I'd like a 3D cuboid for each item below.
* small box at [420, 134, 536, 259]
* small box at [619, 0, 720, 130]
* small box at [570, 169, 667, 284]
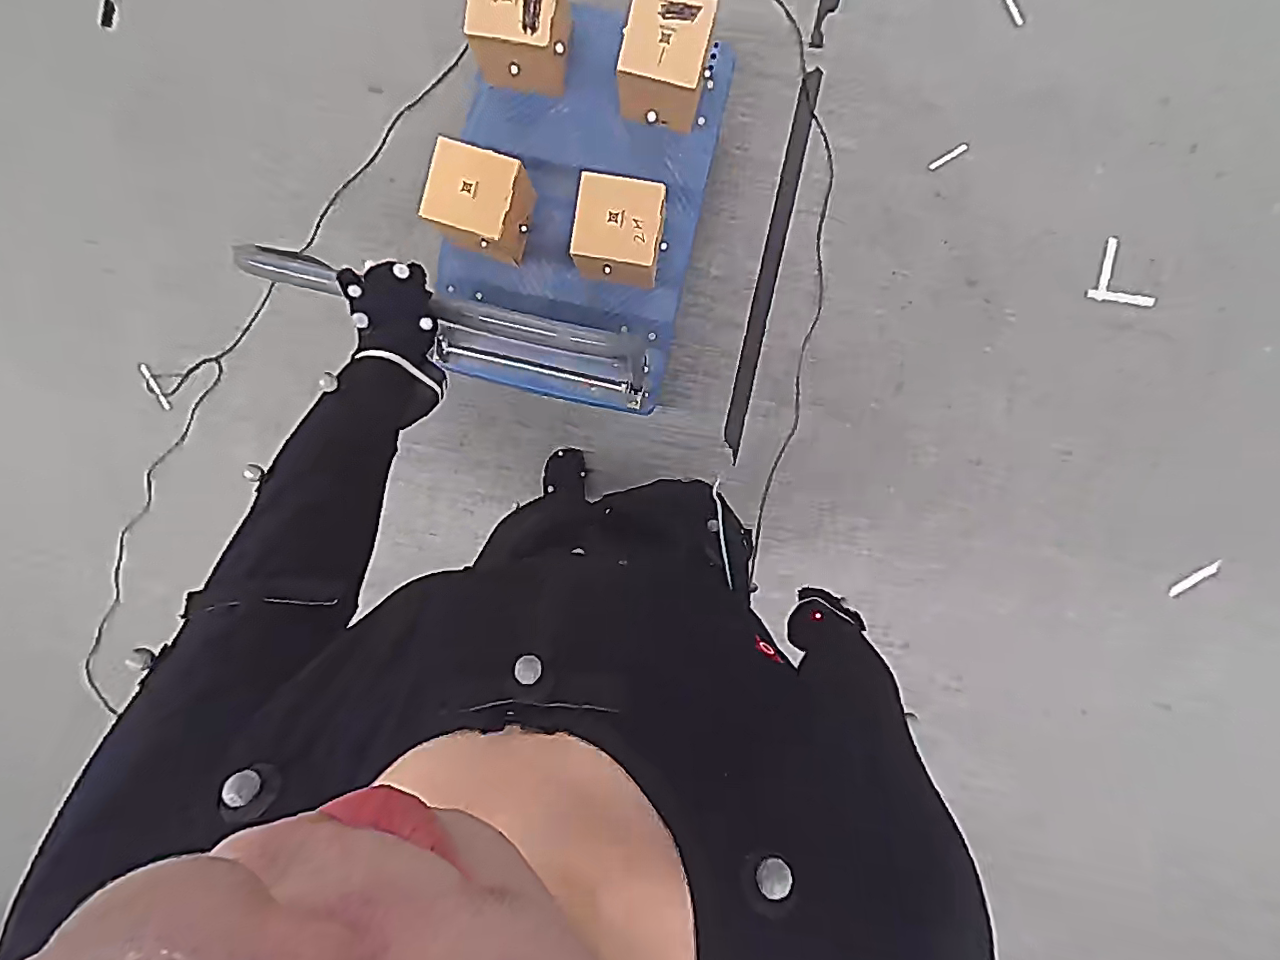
[{"bbox_3d":[-0.344,-0.606,1.178,0.179,0.176,0.168,16,95,-1],"label":"small box"},{"bbox_3d":[0.058,-0.892,1.144,0.168,0.176,0.179,15,96,0],"label":"small box"},{"bbox_3d":[-0.041,-0.541,1.176,0.179,0.176,0.168,10,95,1],"label":"small box"}]
